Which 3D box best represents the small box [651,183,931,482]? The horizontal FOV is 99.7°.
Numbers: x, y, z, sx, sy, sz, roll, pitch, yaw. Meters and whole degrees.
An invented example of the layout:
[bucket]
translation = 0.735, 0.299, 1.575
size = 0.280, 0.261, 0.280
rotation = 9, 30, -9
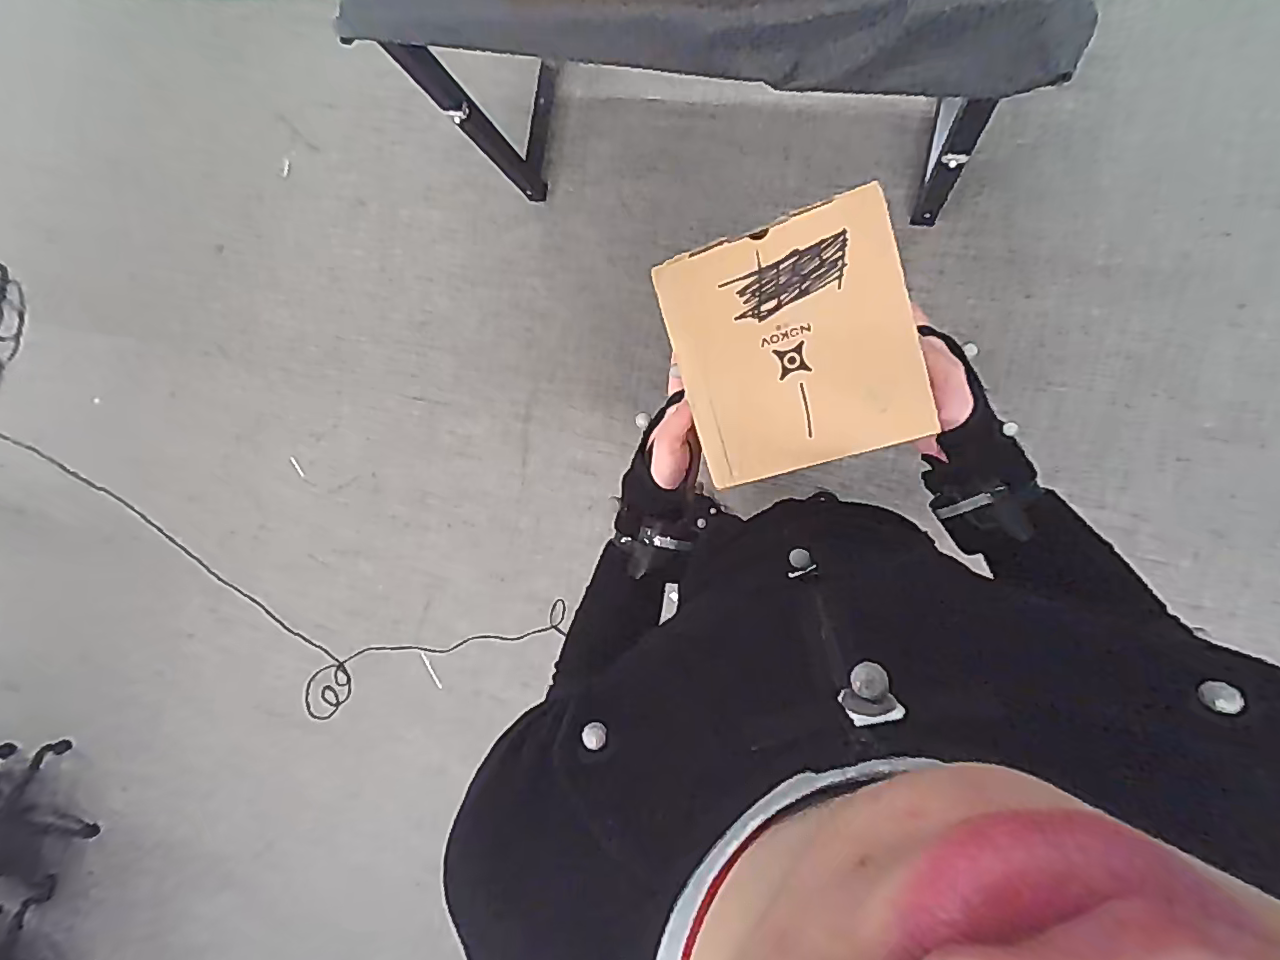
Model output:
[small box]
translation = 0.124, -0.112, 0.465
size = 0.168, 0.176, 0.179
rotation = -15, 97, 17
